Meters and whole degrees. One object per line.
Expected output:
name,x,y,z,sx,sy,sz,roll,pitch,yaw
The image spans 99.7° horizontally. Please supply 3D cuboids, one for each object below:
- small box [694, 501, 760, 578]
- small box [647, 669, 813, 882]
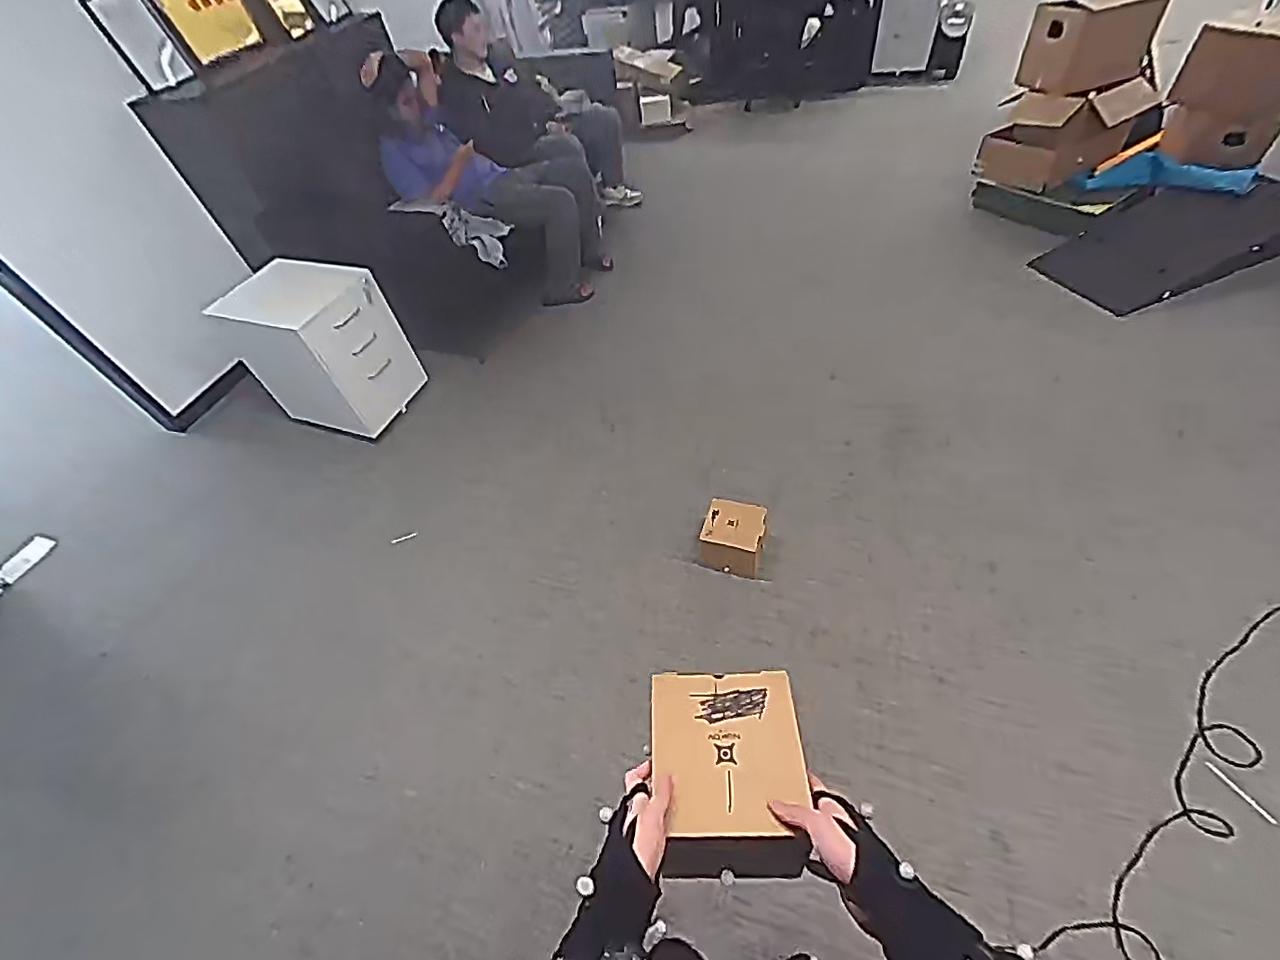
small box,0.279,0.195,1.737,0.179,0.176,0.168,10,54,16
small box,0.099,0.349,0.645,0.168,0.176,0.179,-1,42,6
